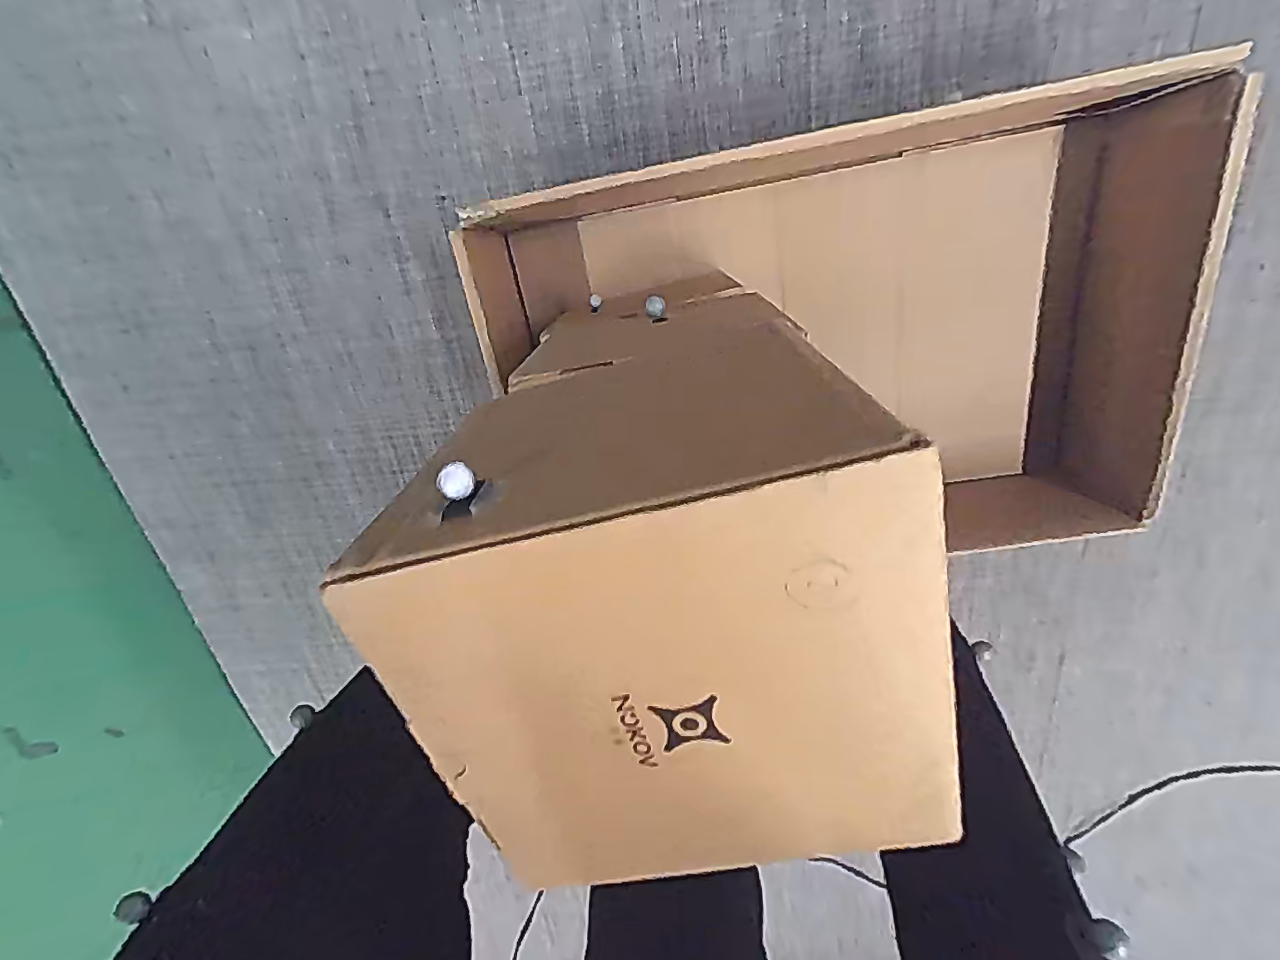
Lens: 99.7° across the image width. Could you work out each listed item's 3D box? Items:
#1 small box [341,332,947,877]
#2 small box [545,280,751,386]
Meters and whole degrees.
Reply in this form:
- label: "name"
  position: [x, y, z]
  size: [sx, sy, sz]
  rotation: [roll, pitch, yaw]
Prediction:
- label: "small box"
  position: [0.014, 0.042, 0.256]
  size: [0.179, 0.176, 0.168]
  rotation: [-14, 115, 9]
- label: "small box"
  position: [0.023, -0.097, 0.551]
  size: [0.179, 0.176, 0.168]
  rotation: [-12, 114, 7]
